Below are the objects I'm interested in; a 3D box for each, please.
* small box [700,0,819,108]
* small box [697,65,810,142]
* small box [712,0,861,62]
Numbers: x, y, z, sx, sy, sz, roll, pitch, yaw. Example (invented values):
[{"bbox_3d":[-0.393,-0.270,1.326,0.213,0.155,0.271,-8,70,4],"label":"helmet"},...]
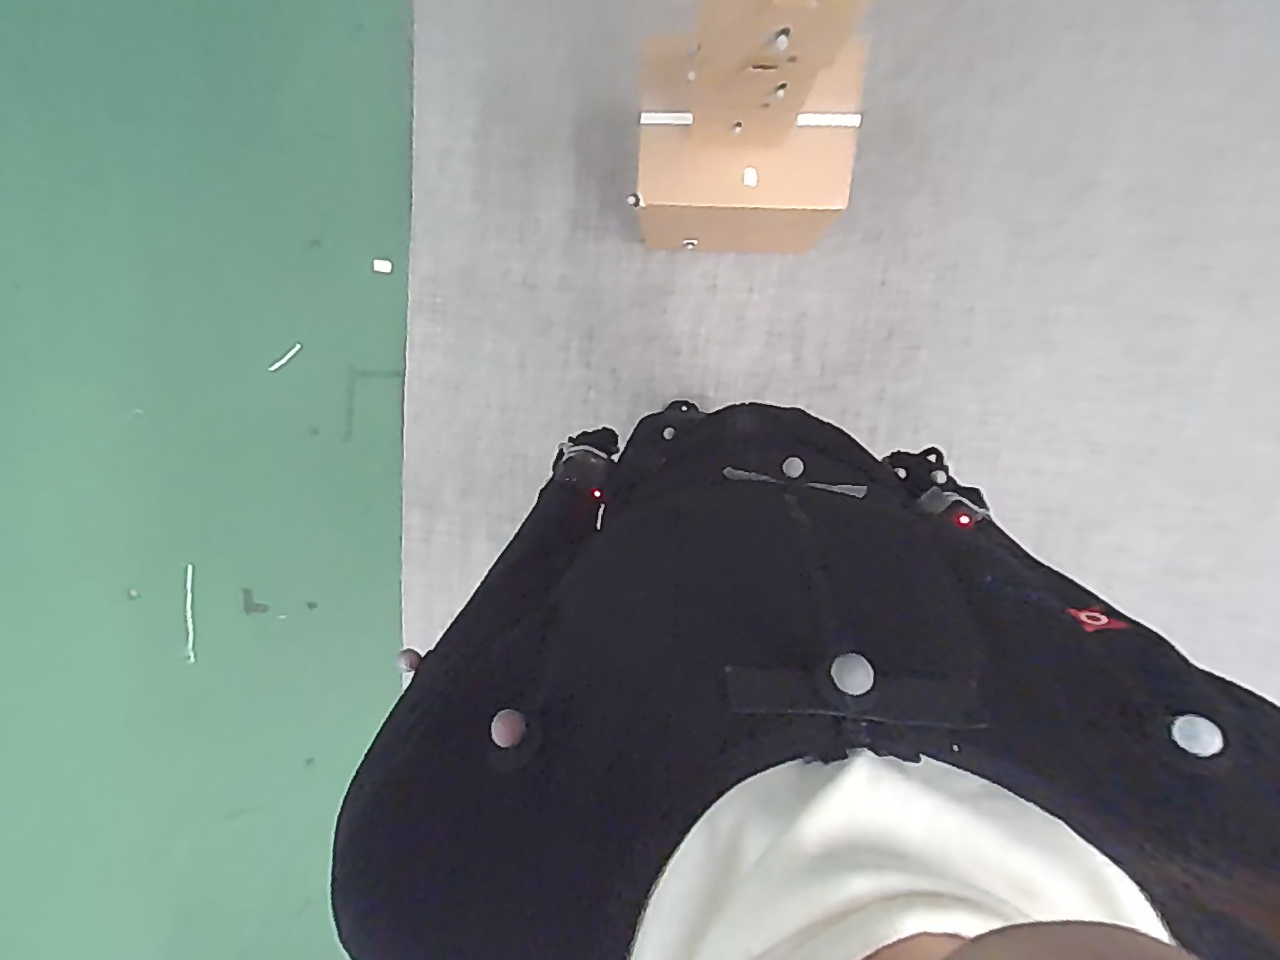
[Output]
[{"bbox_3d":[0.175,-0.659,0.768,0.168,0.176,0.179,4,104,4],"label":"small box"},{"bbox_3d":[0.191,-0.699,0.925,0.179,0.176,0.168,3,105,5],"label":"small box"},{"bbox_3d":[0.172,-0.611,0.612,0.168,0.176,0.179,5,105,4],"label":"small box"}]
